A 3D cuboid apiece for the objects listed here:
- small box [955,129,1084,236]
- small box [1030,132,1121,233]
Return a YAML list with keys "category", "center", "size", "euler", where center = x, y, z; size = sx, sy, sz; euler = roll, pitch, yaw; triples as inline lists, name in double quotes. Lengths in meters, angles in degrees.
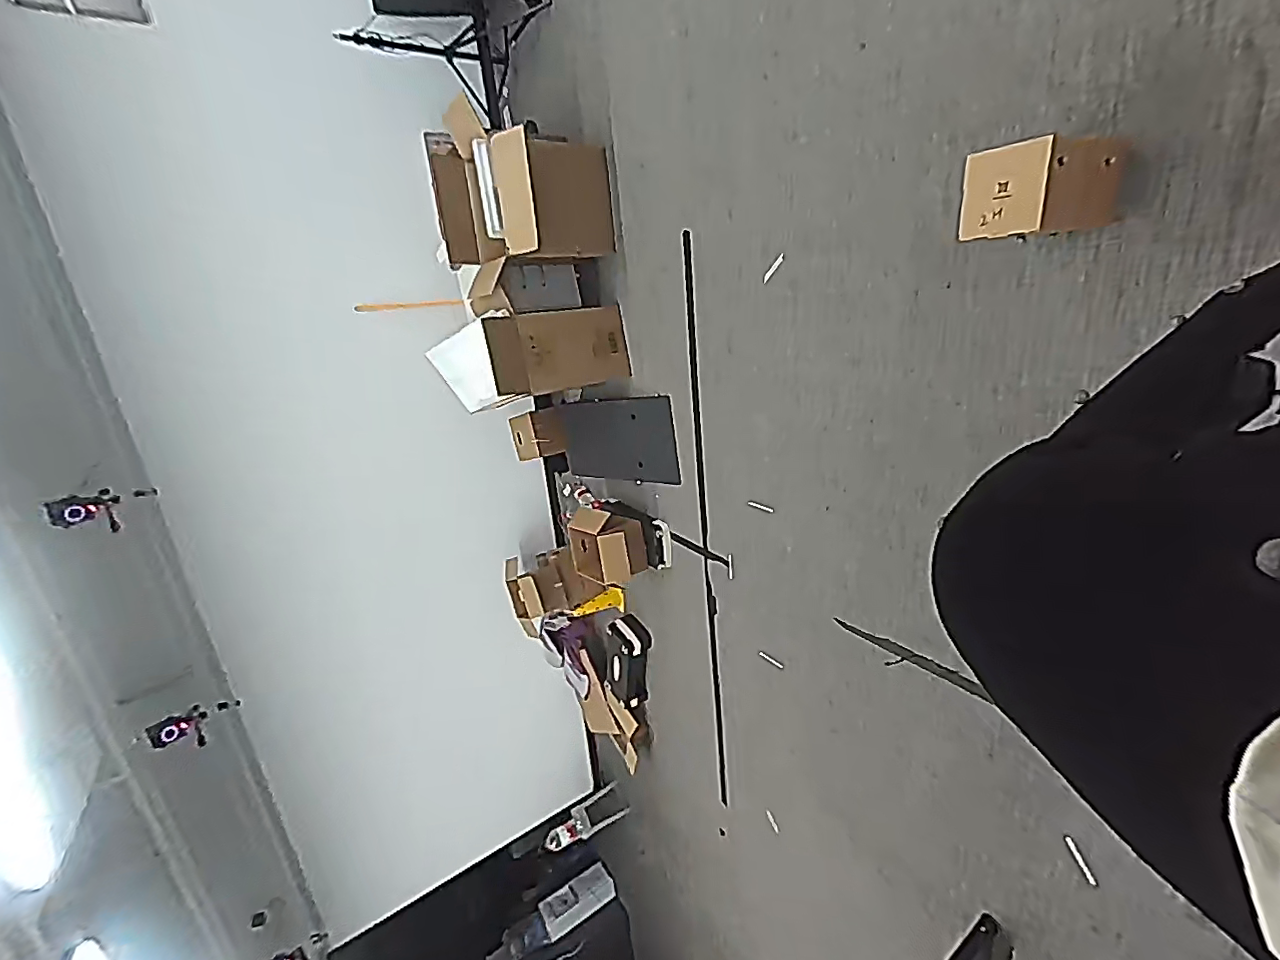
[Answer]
- category: "small box"
  center: [0.815, -0.627, 1.162]
  size: [0.168, 0.176, 0.179]
  euler: [25, 125, 54]
- category: "small box"
  center: [0.955, -0.668, 1.236]
  size: [0.168, 0.176, 0.179]
  euler: [26, 125, 54]
